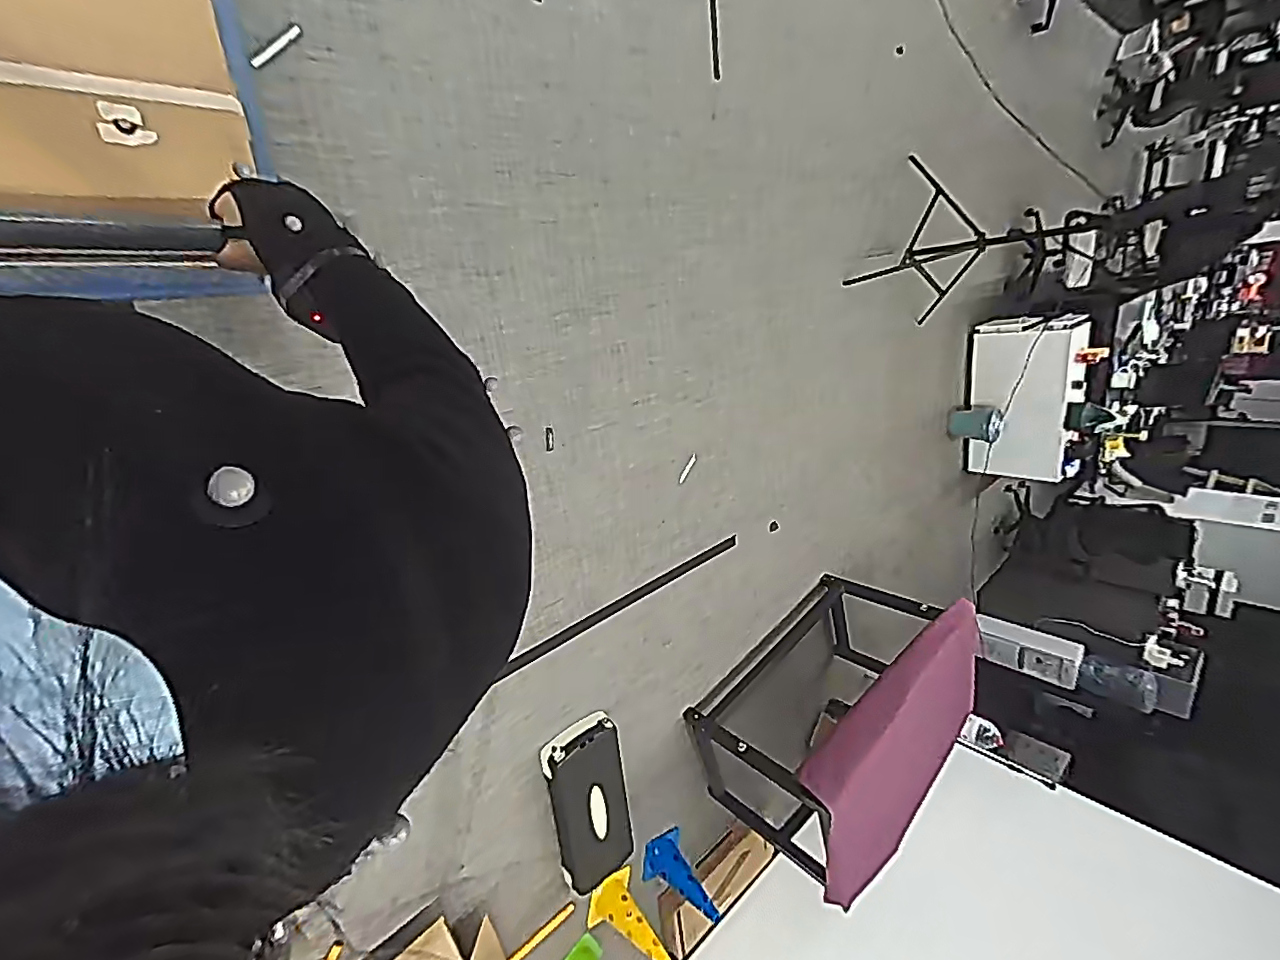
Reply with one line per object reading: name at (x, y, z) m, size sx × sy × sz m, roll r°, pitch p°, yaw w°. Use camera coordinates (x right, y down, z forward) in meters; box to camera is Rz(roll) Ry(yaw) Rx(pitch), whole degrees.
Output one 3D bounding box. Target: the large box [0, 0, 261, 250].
large box at (-0.846, -0.526, 0.785) m, size 0.408 × 0.320 × 0.320 m, roll -18°, pitch 111°, yaw -38°
